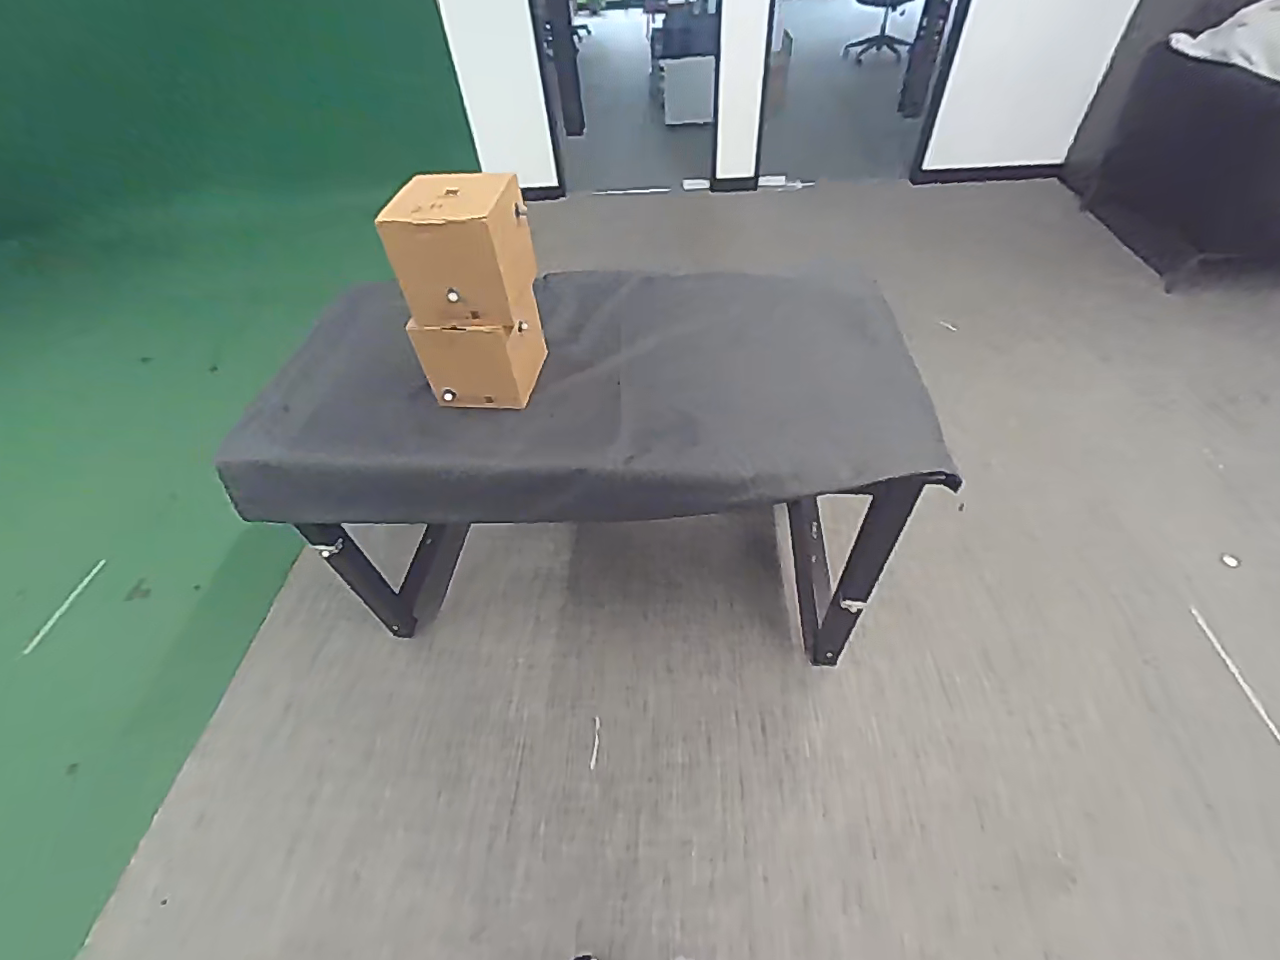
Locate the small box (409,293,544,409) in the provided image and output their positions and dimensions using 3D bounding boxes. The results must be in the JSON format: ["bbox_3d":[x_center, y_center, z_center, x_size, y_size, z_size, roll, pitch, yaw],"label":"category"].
[{"bbox_3d":[-0.283,-0.246,0.985,0.168,0.176,0.179,4,48,7],"label":"small box"}]

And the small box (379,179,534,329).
[{"bbox_3d":[-0.276,-0.362,0.867,0.168,0.176,0.179,1,48,6],"label":"small box"}]
